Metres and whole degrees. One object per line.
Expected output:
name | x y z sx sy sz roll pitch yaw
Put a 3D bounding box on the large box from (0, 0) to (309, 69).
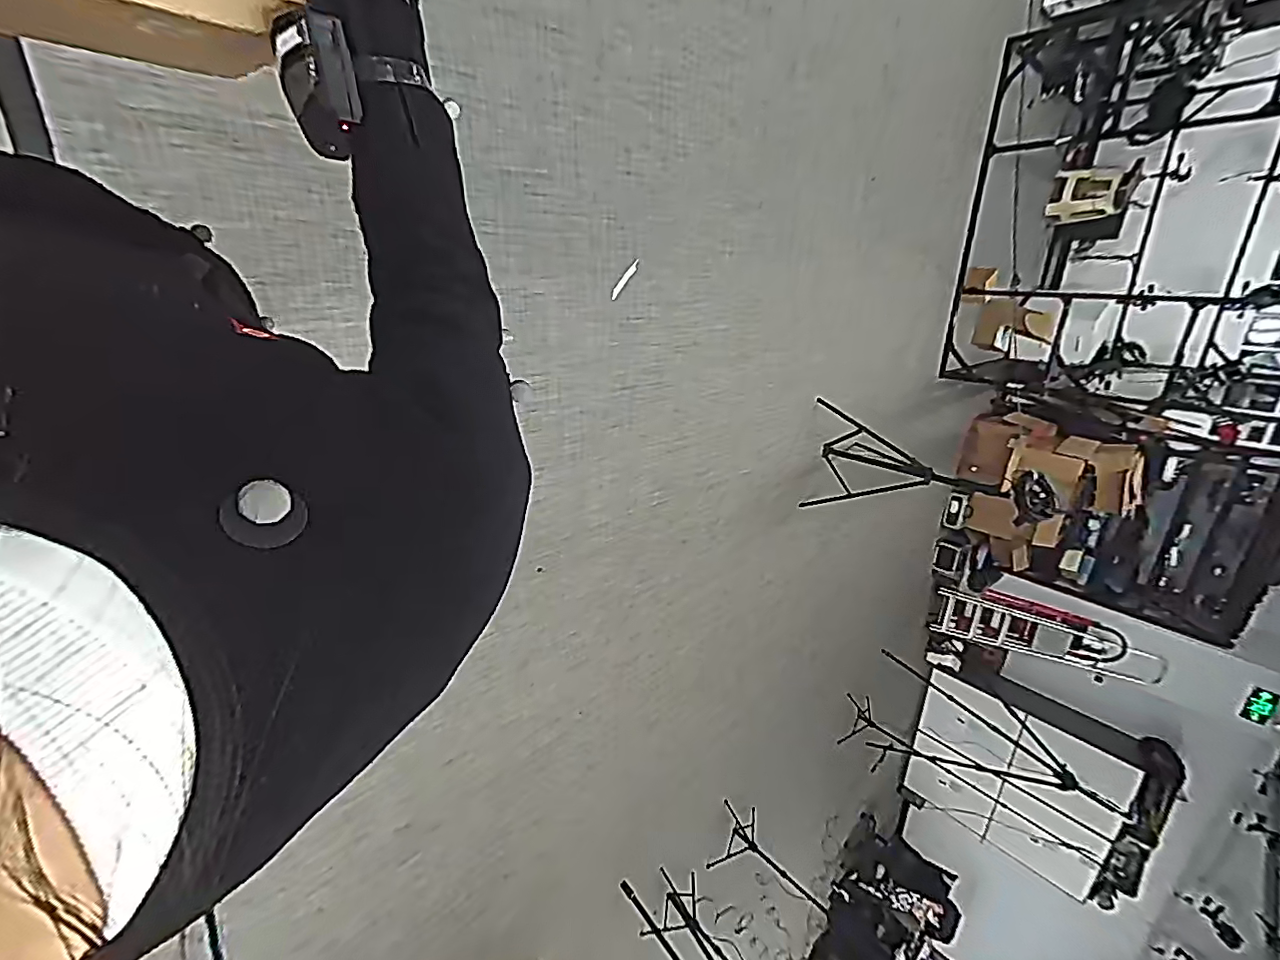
large box | -0.447 -0.443 0.262 0.408 0.320 0.320 -16 126 -39
